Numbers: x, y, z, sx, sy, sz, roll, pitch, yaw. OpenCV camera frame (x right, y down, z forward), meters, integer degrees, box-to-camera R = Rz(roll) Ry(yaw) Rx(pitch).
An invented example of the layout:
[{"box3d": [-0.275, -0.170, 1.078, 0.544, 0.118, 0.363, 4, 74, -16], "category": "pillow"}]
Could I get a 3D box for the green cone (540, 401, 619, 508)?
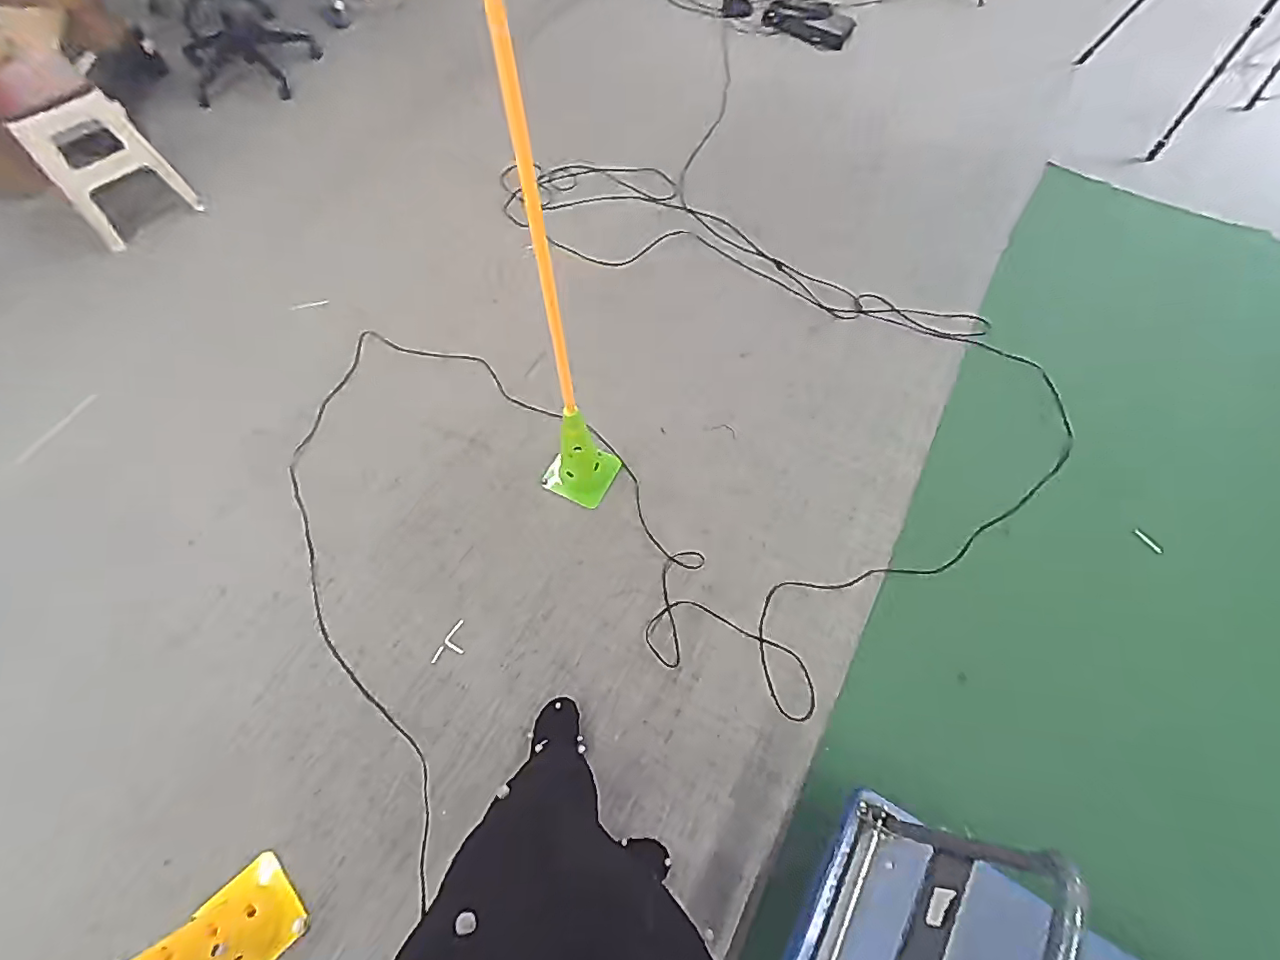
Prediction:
[{"box3d": [-0.183, -0.102, 1.557, 0.200, 0.368, 0.202, 24, 64, 10], "category": "green cone"}]
